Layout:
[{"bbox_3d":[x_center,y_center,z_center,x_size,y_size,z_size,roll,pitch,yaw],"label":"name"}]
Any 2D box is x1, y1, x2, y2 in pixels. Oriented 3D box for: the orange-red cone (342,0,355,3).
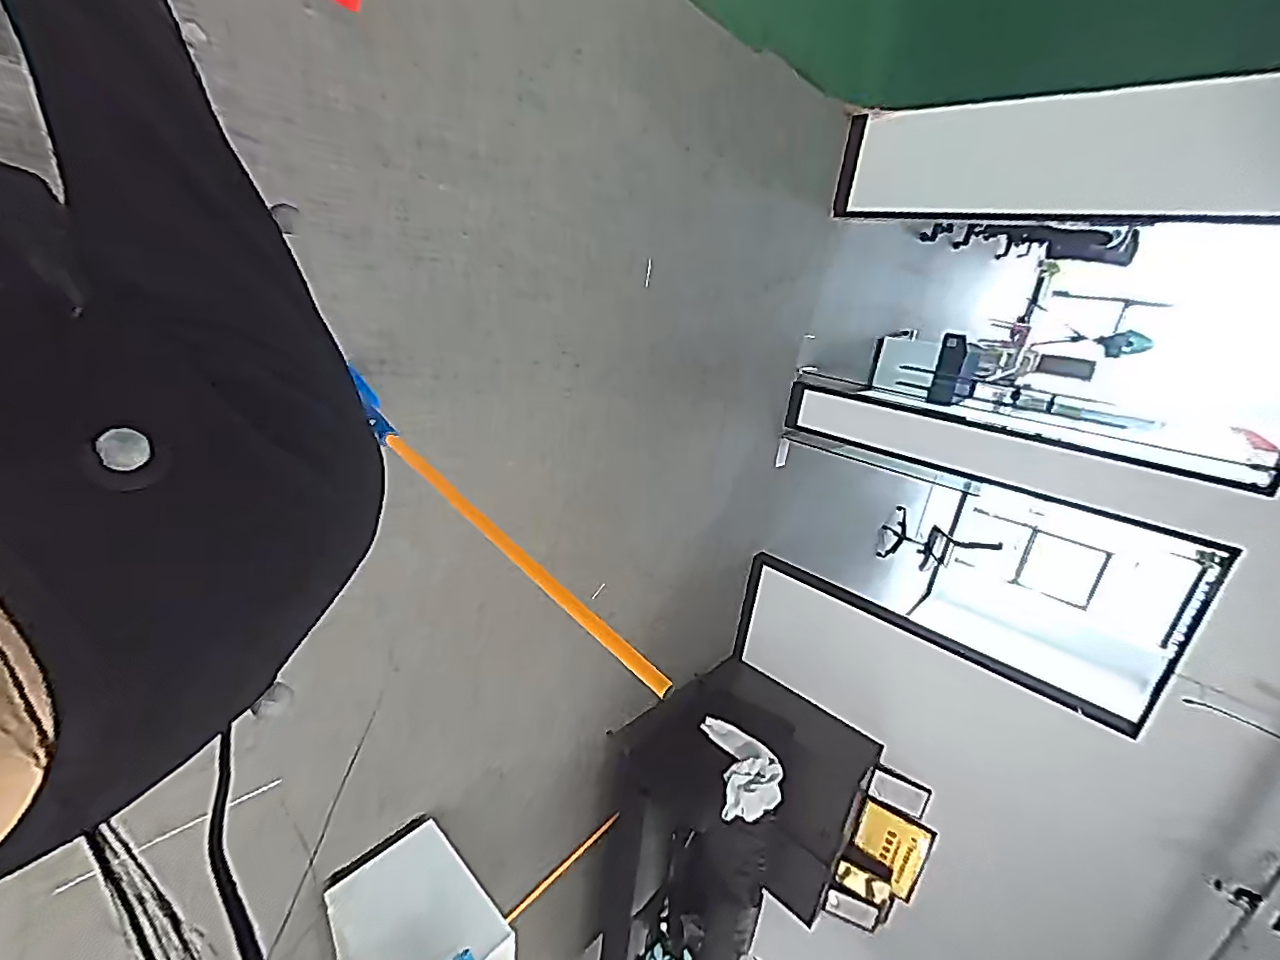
[{"bbox_3d":[-0.538,-1.075,0.994,0.198,0.360,0.199,3,107,-50],"label":"orange-red cone"}]
